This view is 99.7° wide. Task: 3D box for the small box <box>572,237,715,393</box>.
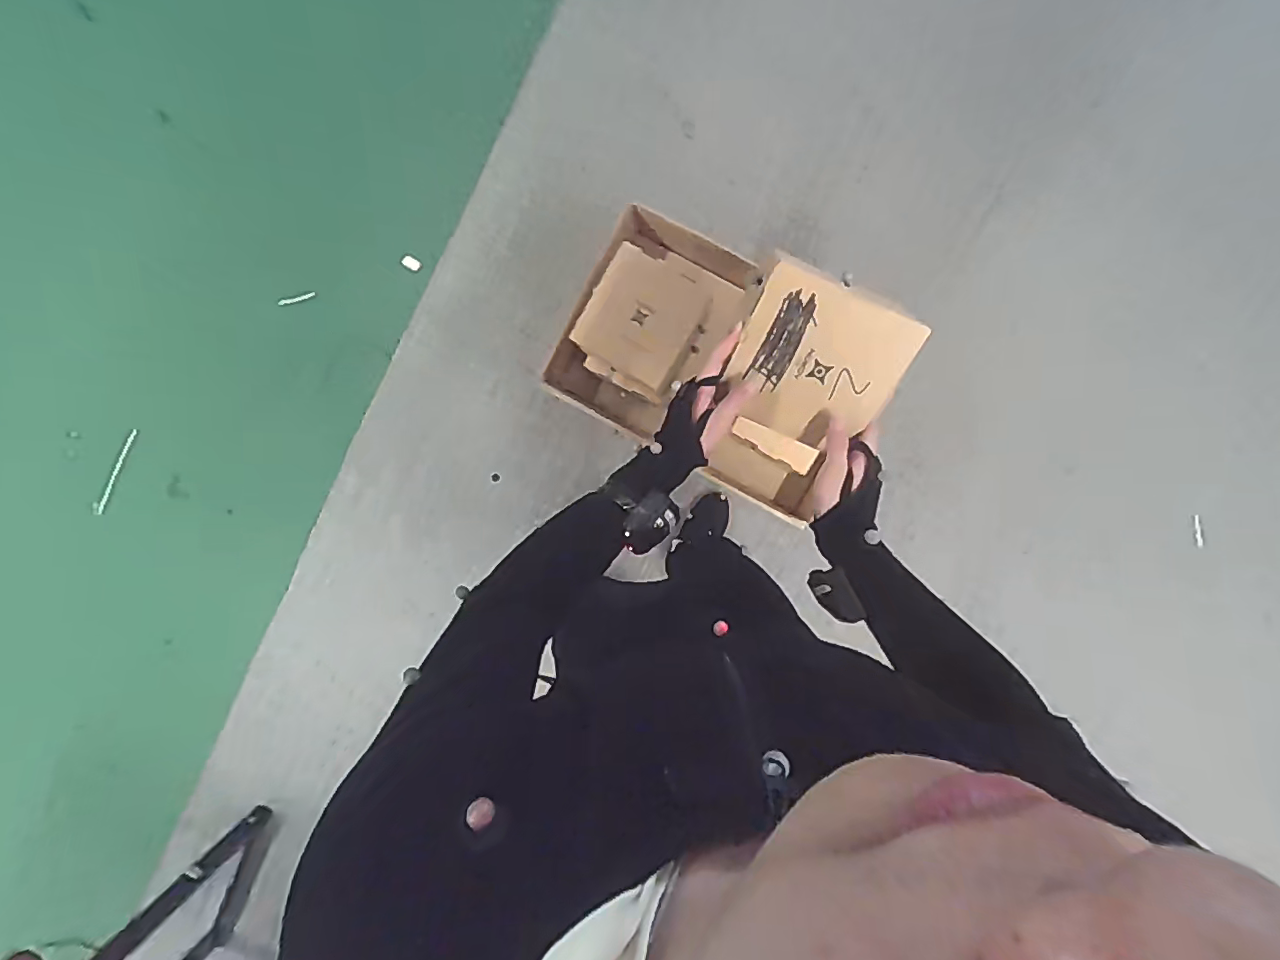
[{"bbox_3d":[0.008,-0.267,0.920,0.168,0.176,0.179,32,95,2],"label":"small box"}]
